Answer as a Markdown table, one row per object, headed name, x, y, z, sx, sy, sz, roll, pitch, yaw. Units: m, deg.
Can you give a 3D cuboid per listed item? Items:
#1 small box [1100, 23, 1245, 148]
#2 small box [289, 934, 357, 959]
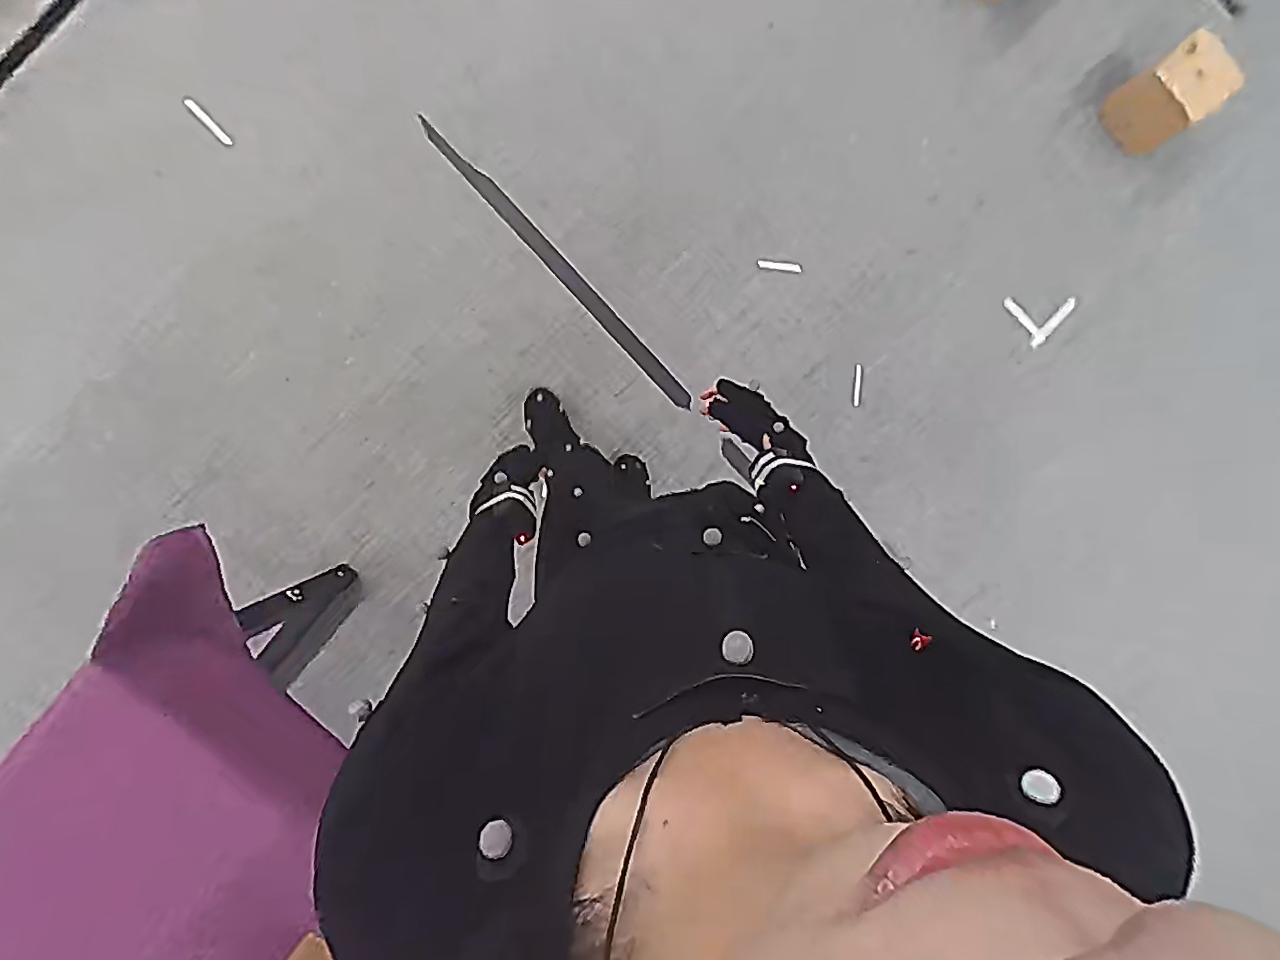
| name | x | y | z | sx | sy | sz | roll | pitch | yaw |
| --- | --- | --- | --- | --- | --- | --- | --- | --- | --- |
| small box | 1.378 | -1.010 | 1.410 | 0.168 | 0.176 | 0.179 | -42 | 95 | 2 |
| small box | -0.479 | 0.798 | 0.740 | 0.168 | 0.176 | 0.179 | 39 | 91 | -4 |
